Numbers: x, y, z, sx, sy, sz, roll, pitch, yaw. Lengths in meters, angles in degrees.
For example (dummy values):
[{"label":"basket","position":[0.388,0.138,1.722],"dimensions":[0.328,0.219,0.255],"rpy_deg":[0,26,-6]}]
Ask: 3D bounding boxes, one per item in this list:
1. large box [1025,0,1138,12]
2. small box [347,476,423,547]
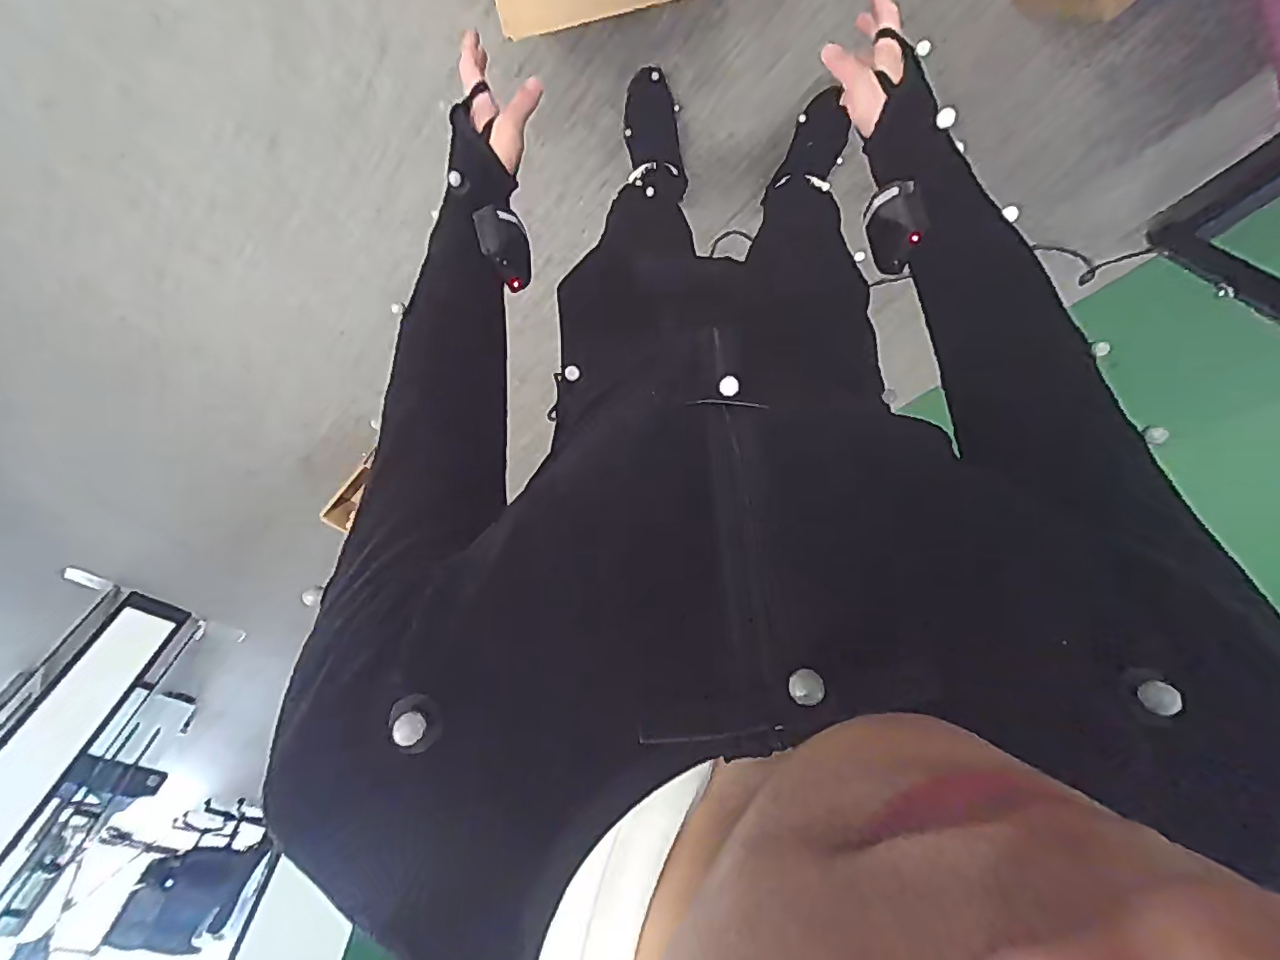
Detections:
[{"label":"large box","position":[0.769,-1.003,0.782],"dimensions":[0.320,0.320,0.408],"rpy_deg":[35,125,-26]},{"label":"small box","position":[-0.939,0.110,2.000],"dimensions":[0.179,0.176,0.168],"rpy_deg":[32,127,-24]}]
